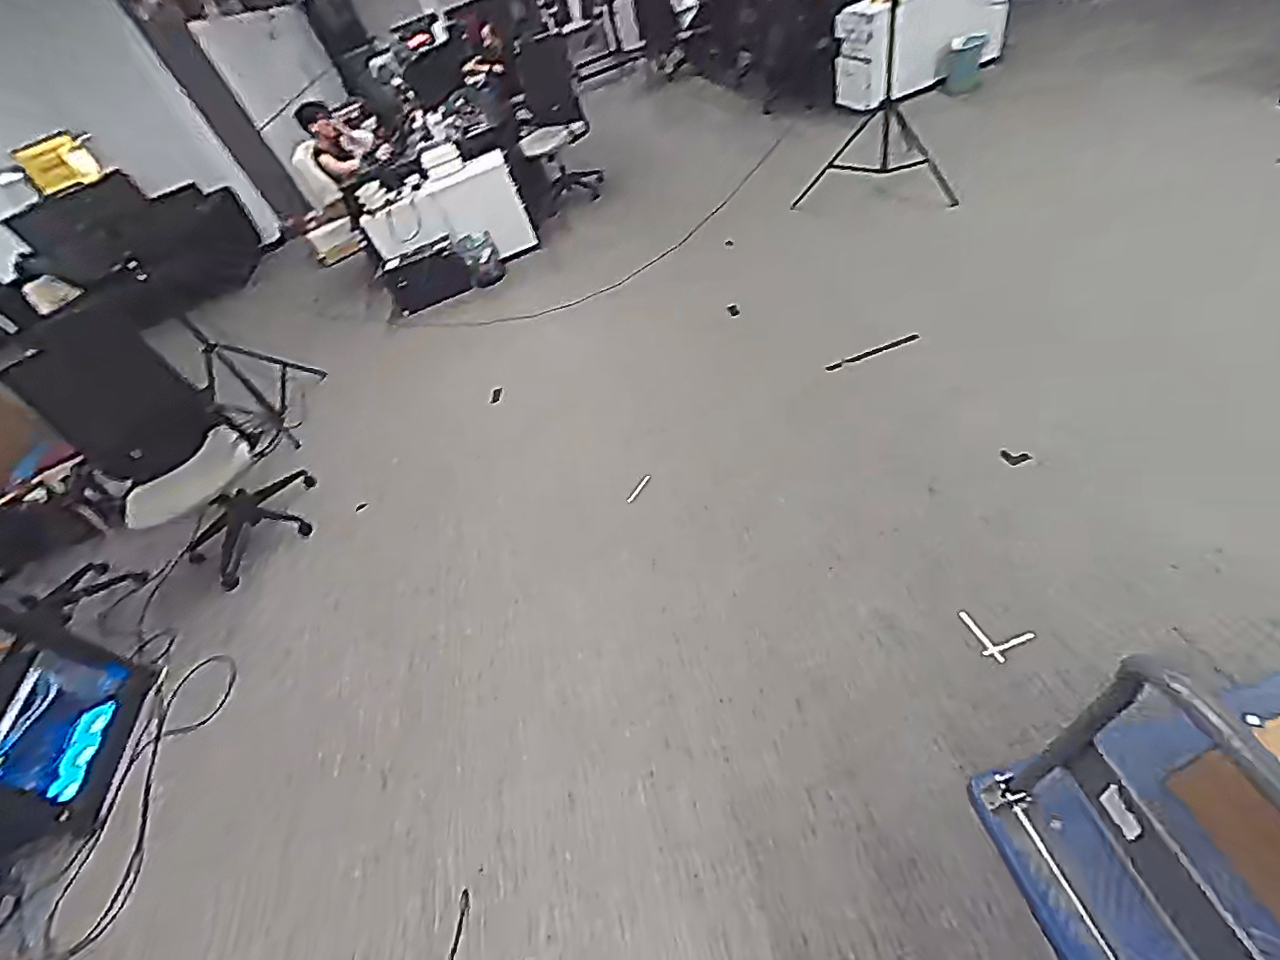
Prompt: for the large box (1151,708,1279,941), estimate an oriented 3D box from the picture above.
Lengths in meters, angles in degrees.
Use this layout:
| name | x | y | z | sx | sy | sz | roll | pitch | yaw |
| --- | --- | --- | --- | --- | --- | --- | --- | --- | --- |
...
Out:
| name | x | y | z | sx | sy | sz | roll | pitch | yaw |
| --- | --- | --- | --- | --- | --- | --- | --- | --- | --- |
| large box | 1.105 | 0.559 | 0.777 | 0.320 | 0.320 | 0.408 | -19 | 44 | 2 |
